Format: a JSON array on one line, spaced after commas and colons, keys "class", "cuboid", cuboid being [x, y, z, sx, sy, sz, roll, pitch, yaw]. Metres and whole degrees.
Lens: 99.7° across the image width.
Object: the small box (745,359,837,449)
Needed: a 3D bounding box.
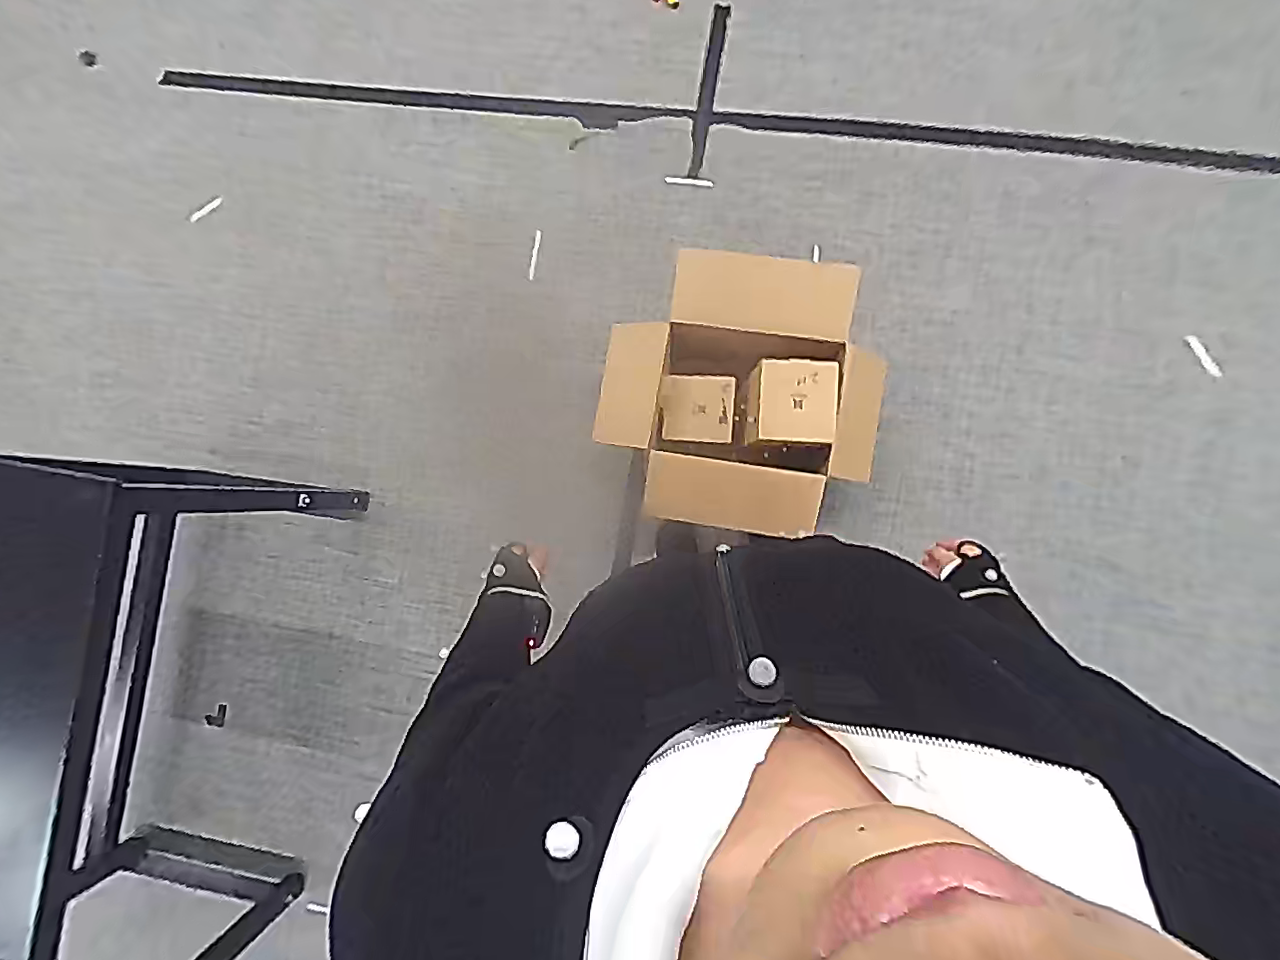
[{"class": "small box", "cuboid": [0.338, -0.166, 1.236, 0.168, 0.176, 0.179, 3, 88, 2]}]
